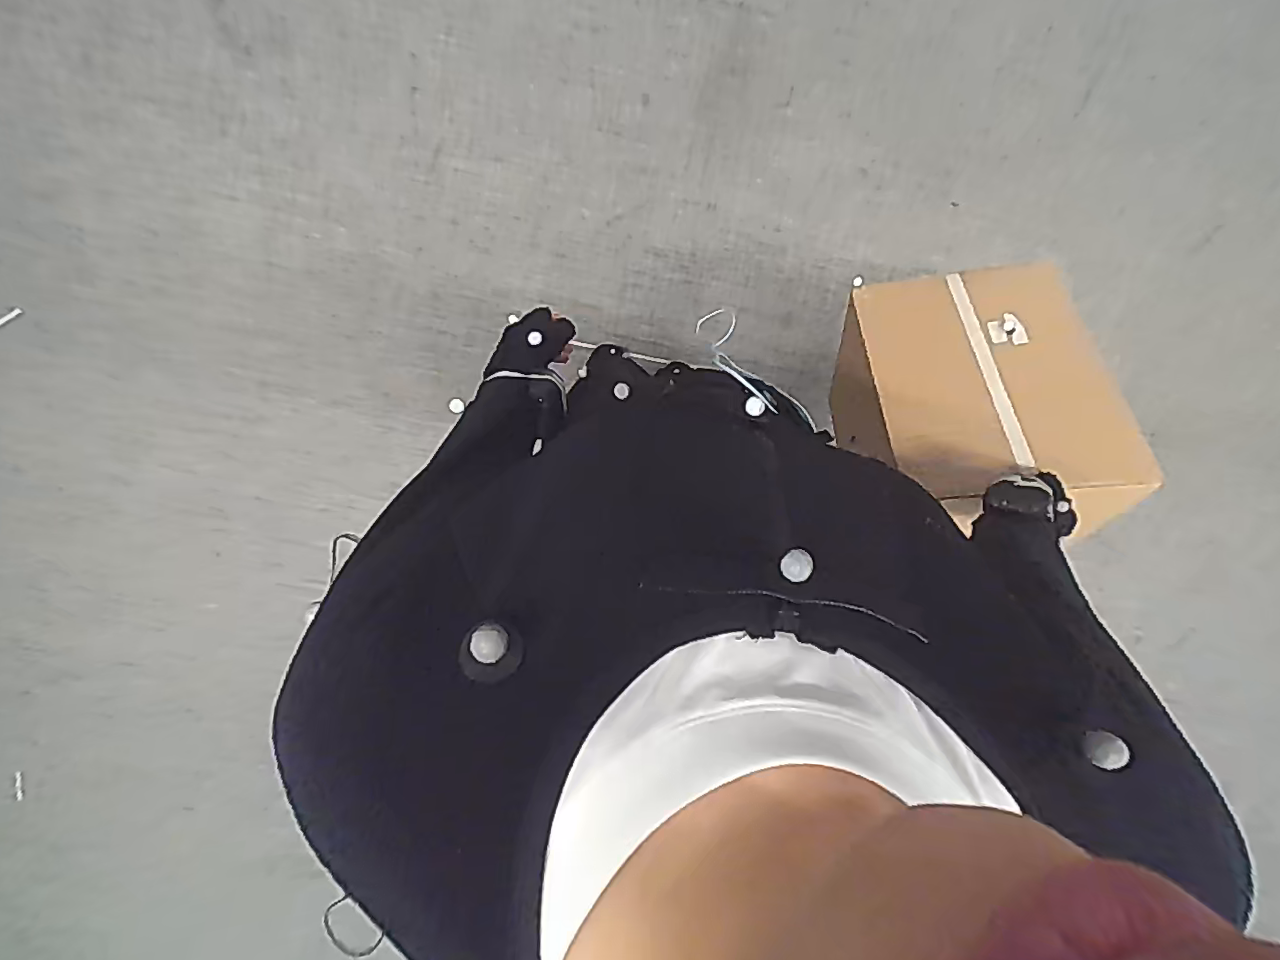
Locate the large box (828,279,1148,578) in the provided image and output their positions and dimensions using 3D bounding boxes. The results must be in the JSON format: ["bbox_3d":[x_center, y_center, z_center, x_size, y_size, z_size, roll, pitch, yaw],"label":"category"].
[{"bbox_3d":[0.535,-0.075,0.945,0.320,0.320,0.408,-5,60,8],"label":"large box"}]
